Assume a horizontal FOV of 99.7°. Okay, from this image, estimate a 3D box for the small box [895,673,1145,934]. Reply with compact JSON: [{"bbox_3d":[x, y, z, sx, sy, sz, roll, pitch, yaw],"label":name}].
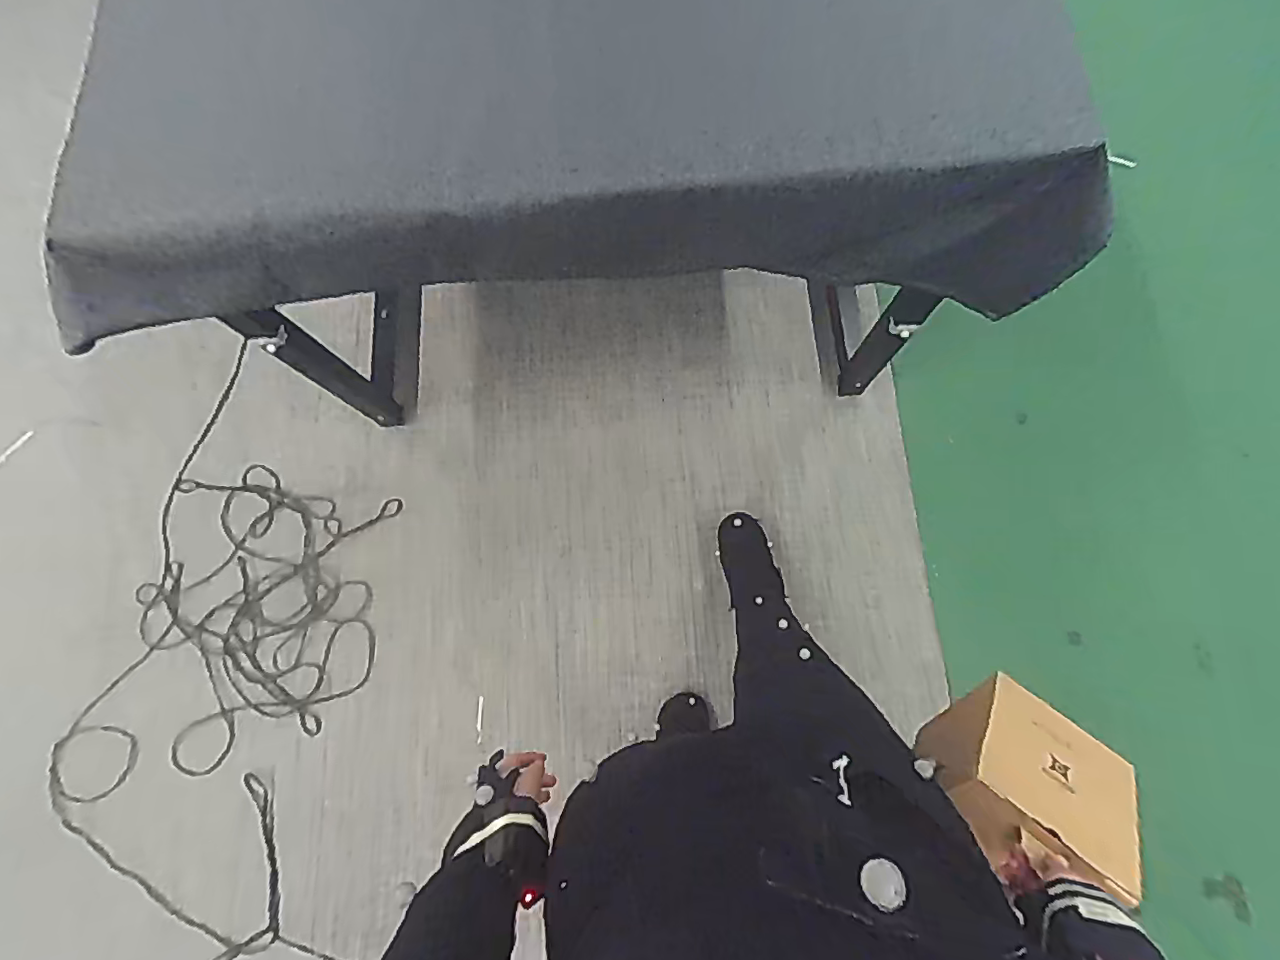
[{"bbox_3d":[0.431,0.375,0.633,0.168,0.176,0.179,38,40,19],"label":"small box"}]
